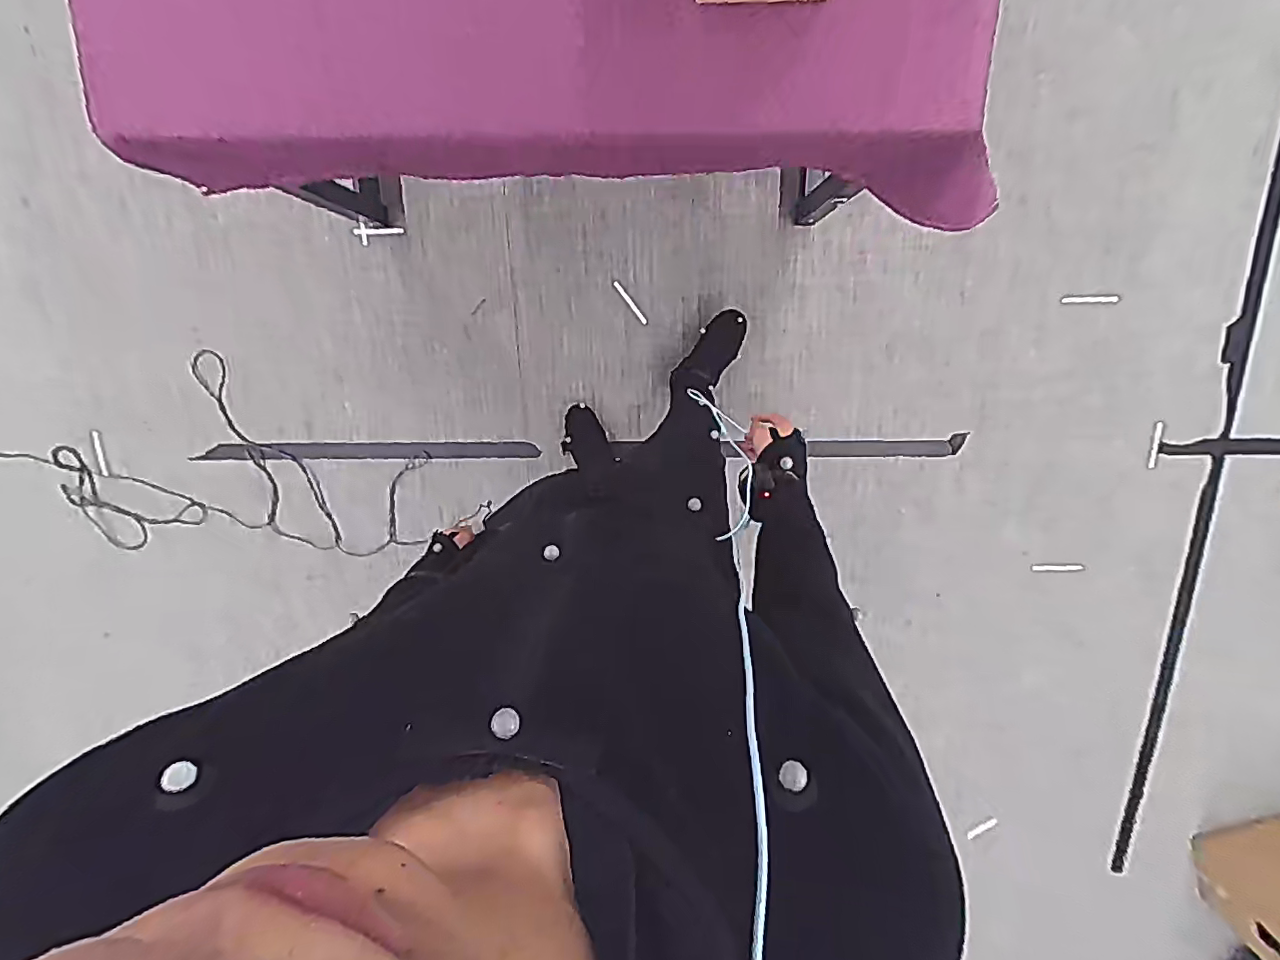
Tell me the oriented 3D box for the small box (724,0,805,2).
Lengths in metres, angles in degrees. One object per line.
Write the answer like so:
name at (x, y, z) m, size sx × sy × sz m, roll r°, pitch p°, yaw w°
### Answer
small box at (0.160, -0.682, 0.609) m, size 0.179 × 0.176 × 0.168 m, roll -1°, pitch 104°, yaw 0°
